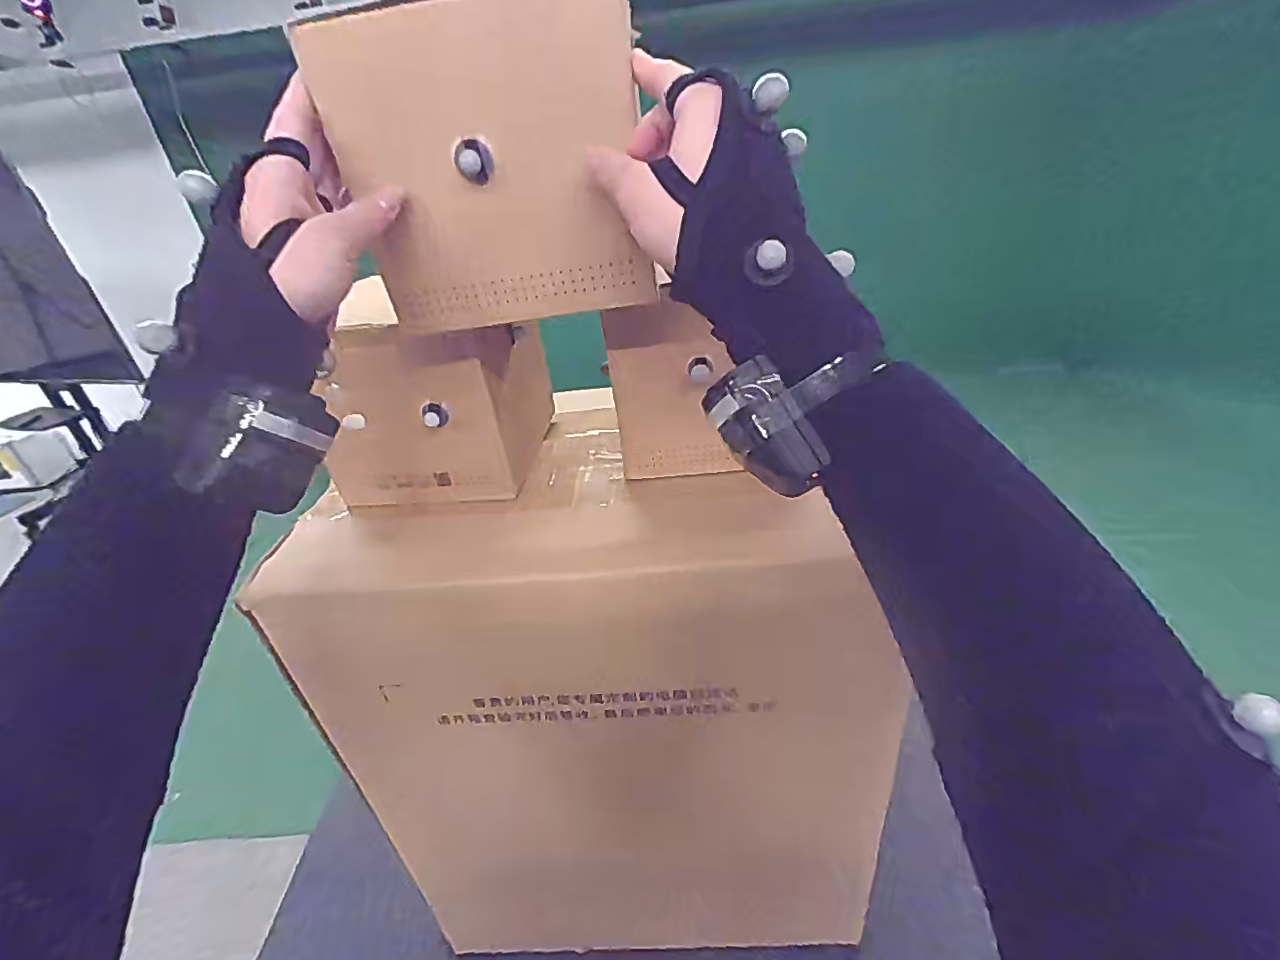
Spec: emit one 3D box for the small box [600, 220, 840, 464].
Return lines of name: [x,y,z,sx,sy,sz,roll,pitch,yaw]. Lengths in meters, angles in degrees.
small box: [0.067,-0.126,0.492,0.179,0.176,0.168,-6,33,3]

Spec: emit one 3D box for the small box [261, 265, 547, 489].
small box: [-0.190,-0.101,0.504,0.168,0.176,0.179,-2,31,4]

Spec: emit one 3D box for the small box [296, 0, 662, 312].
small box: [-0.078,-0.227,0.371,0.179,0.176,0.168,-7,32,3]
